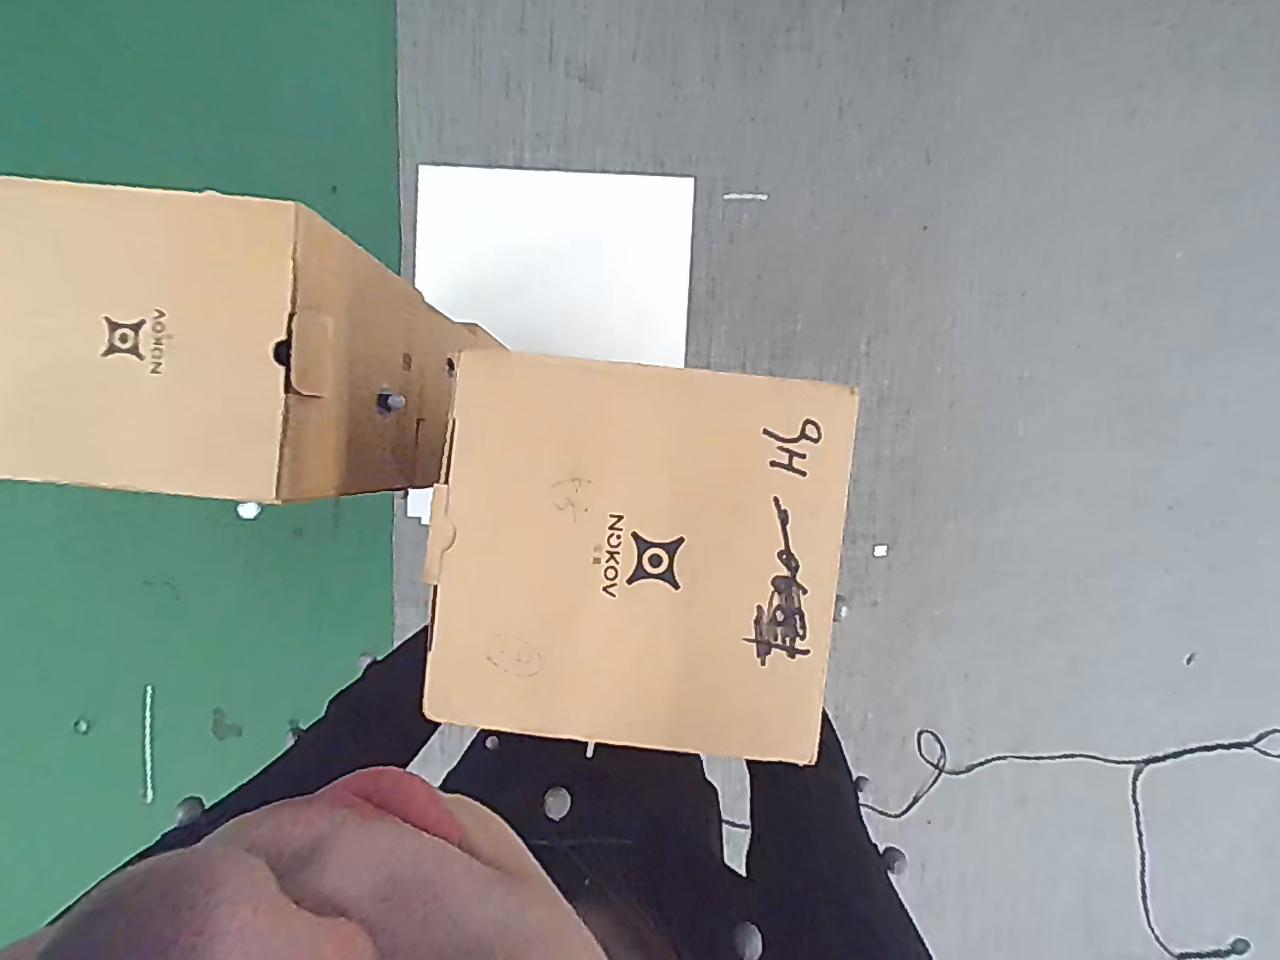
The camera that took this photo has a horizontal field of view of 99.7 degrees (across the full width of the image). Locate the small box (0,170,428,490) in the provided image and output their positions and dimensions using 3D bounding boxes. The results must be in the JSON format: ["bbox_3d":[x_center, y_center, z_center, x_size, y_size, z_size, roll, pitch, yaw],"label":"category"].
[{"bbox_3d":[-0.272,-0.084,0.377,0.179,0.176,0.168,5,92,-1],"label":"small box"}]

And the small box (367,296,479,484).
[{"bbox_3d":[-0.270,-0.085,0.541,0.179,0.176,0.168,2,92,0],"label":"small box"}]
